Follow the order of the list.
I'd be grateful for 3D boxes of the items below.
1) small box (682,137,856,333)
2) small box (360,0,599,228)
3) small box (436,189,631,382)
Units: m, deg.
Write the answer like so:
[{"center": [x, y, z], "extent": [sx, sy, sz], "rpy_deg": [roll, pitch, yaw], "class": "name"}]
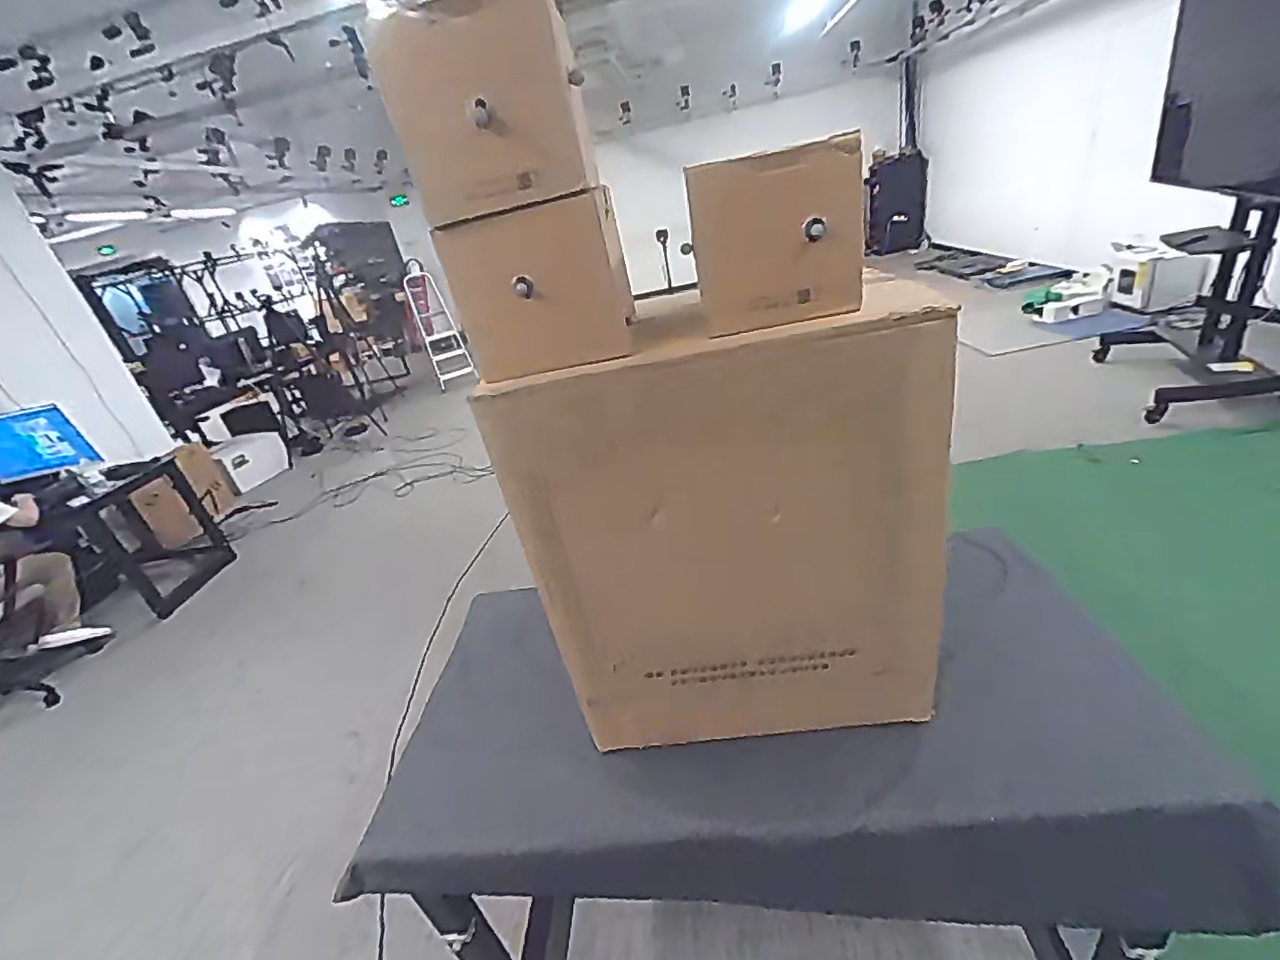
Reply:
[{"center": [0.141, -0.274, 0.618], "extent": [0.168, 0.176, 0.179], "rpy_deg": [-7, 28, 7], "class": "small box"}, {"center": [-0.143, -0.370, 0.561], "extent": [0.168, 0.176, 0.179], "rpy_deg": [-10, 30, 5], "class": "small box"}, {"center": [-0.107, -0.231, 0.639], "extent": [0.179, 0.176, 0.168], "rpy_deg": [-9, 30, 4], "class": "small box"}]
